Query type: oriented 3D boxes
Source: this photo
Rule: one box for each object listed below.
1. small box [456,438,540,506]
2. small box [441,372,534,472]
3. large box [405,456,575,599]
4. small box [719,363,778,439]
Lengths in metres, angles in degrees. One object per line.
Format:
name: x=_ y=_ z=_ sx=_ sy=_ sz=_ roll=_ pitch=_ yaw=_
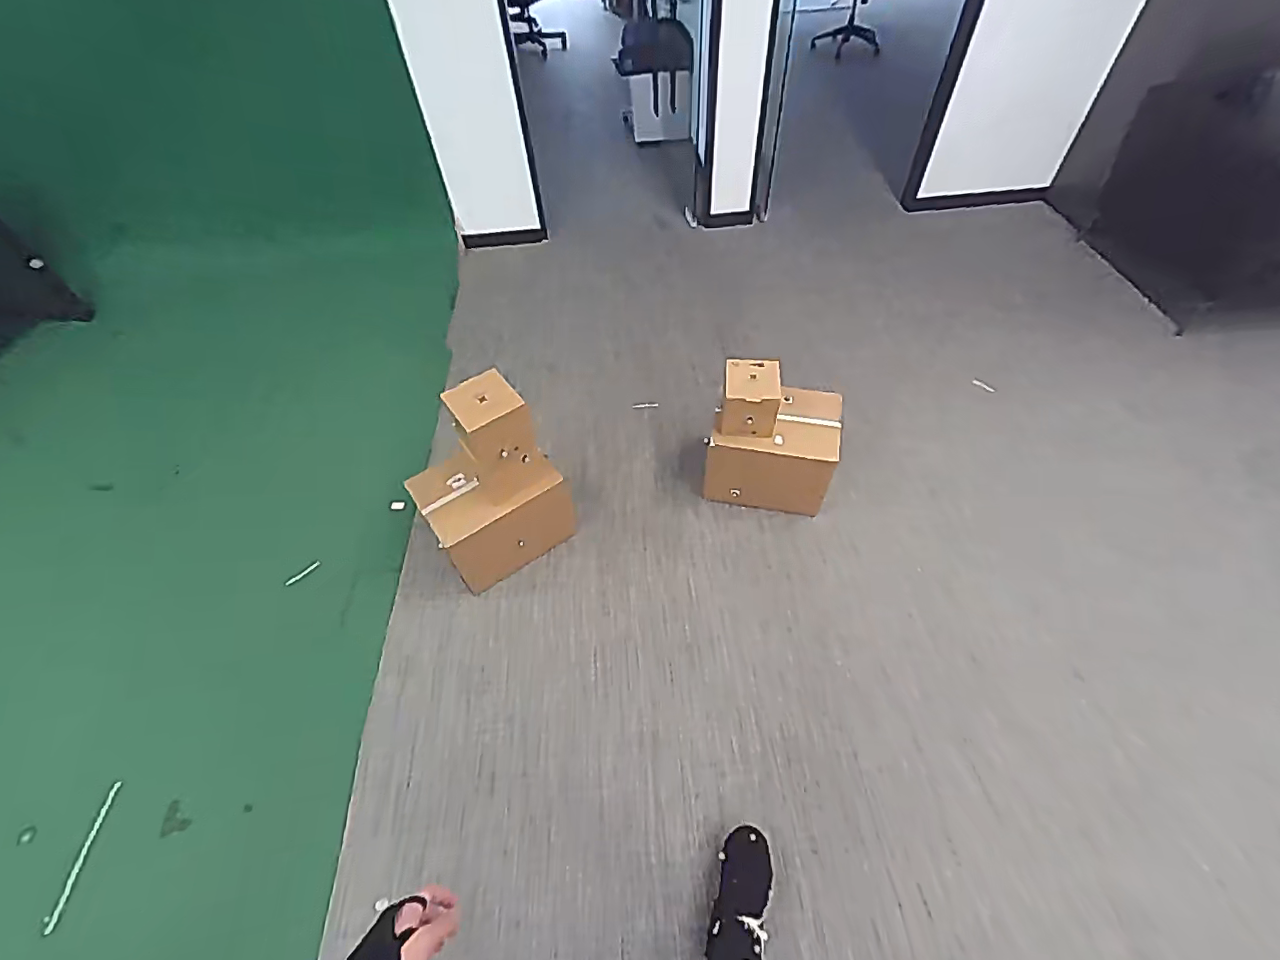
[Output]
small box: x=-0.410 y=-0.059 z=1.600 sx=0.179 sy=0.176 sz=0.168 roll=-33 pitch=57 yaw=-21
small box: x=-0.410 y=-0.156 z=1.469 sx=0.168 sy=0.176 sz=0.179 roll=-31 pitch=58 yaw=-19
large box: x=-0.476 y=0.111 z=1.784 sx=0.408 sy=0.320 sz=0.320 roll=-33 pitch=56 yaw=-20
small box: x=0.342 y=-0.246 z=1.710 sx=0.168 sy=0.176 sz=0.179 roll=4 pitch=53 yaw=5
